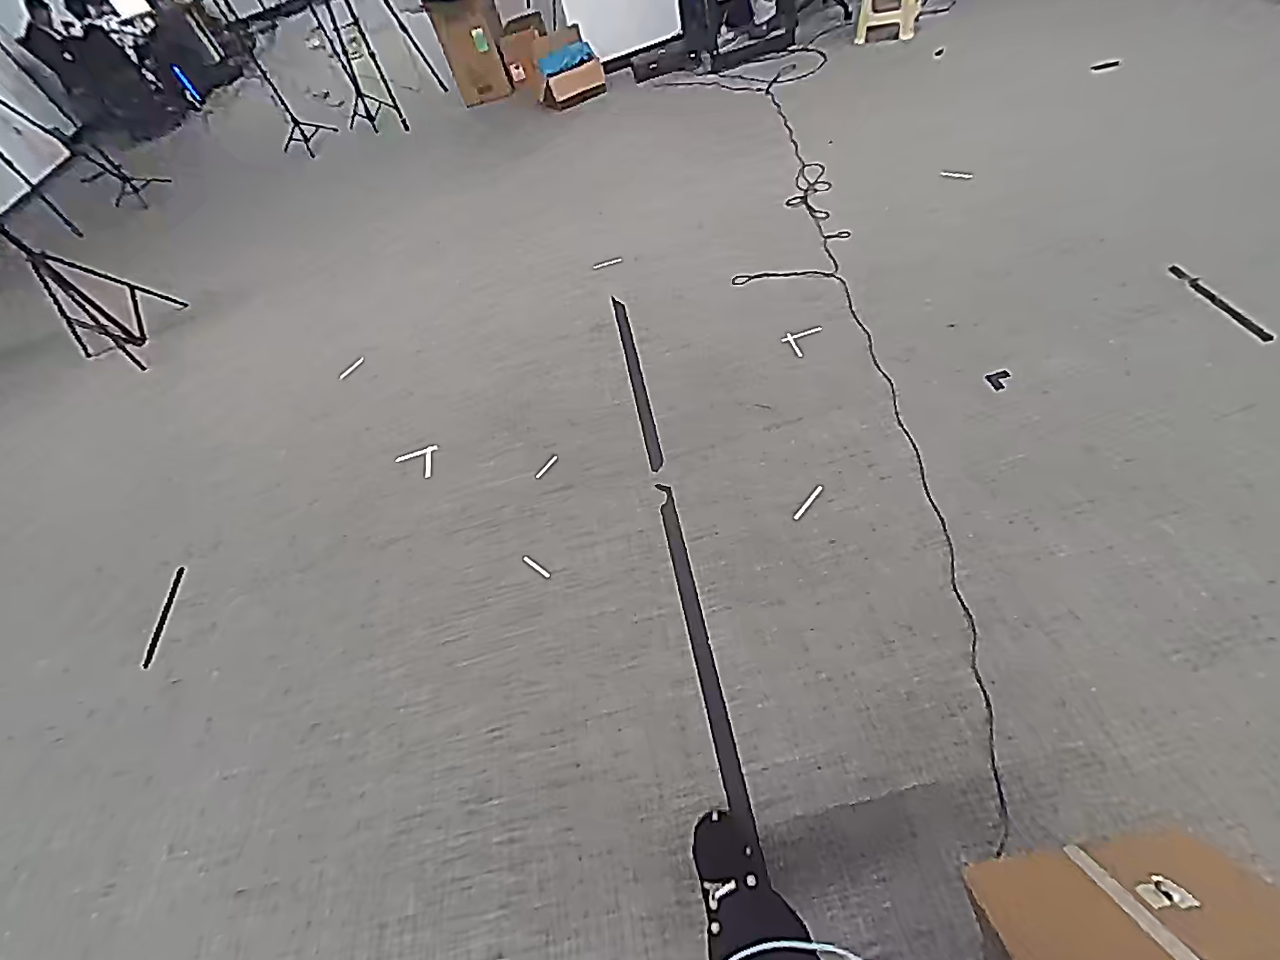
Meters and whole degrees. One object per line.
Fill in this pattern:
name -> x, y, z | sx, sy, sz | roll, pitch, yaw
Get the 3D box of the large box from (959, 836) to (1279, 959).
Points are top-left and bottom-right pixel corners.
large box -> 0.626, 0.663, 0.574 | 0.320, 0.408, 0.320 | -17, 77, 9
